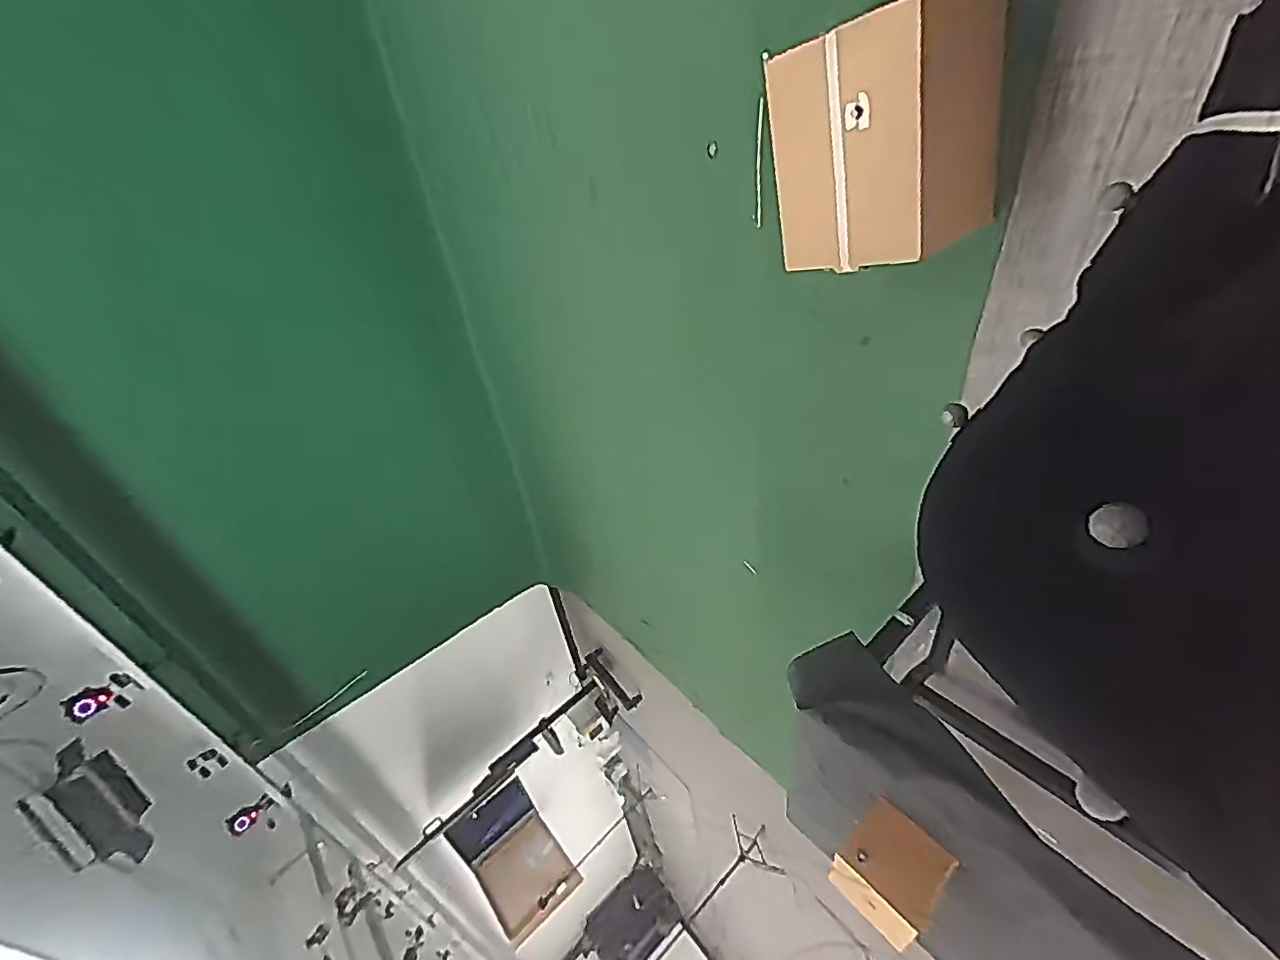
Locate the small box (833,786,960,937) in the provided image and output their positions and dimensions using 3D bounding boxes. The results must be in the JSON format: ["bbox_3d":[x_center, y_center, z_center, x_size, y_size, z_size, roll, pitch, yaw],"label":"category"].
[{"bbox_3d":[0.542,0.802,1.148,0.179,0.176,0.168,33,144,39],"label":"small box"}]
